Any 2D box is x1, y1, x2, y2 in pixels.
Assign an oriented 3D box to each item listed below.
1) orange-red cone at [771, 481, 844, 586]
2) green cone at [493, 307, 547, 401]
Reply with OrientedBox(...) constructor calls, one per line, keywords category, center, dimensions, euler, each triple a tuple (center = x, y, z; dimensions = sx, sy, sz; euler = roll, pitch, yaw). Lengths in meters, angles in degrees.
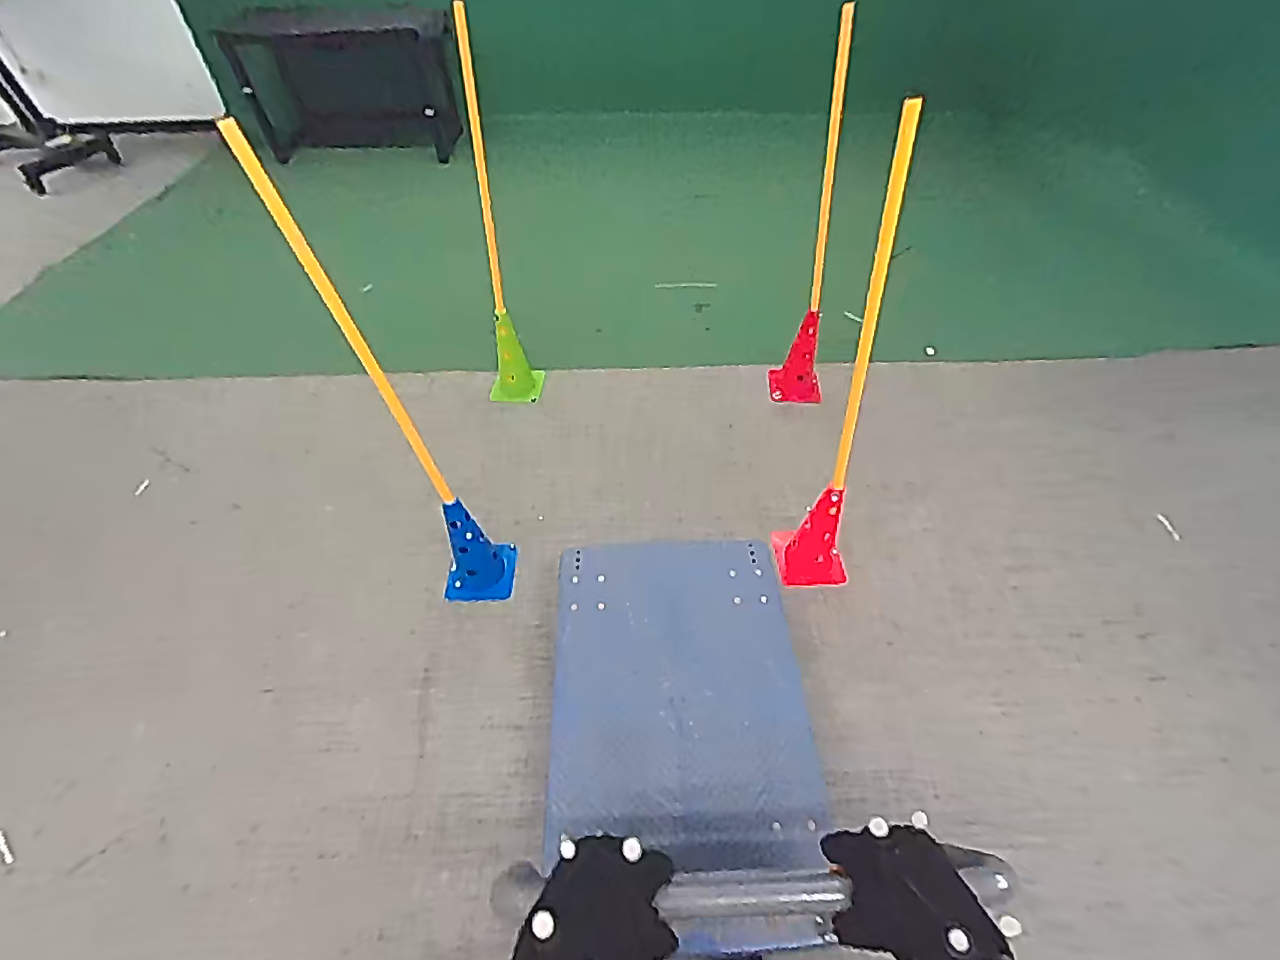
OrientedBox(category="orange-red cone", center=(0.517, 0.133, 1.565), dimensions=(0.199, 0.360, 0.198), euler=(-2, 49, 1))
OrientedBox(category="green cone", center=(-0.499, -0.509, 2.111), dimensions=(0.202, 0.368, 0.200), euler=(2, 49, 3))
